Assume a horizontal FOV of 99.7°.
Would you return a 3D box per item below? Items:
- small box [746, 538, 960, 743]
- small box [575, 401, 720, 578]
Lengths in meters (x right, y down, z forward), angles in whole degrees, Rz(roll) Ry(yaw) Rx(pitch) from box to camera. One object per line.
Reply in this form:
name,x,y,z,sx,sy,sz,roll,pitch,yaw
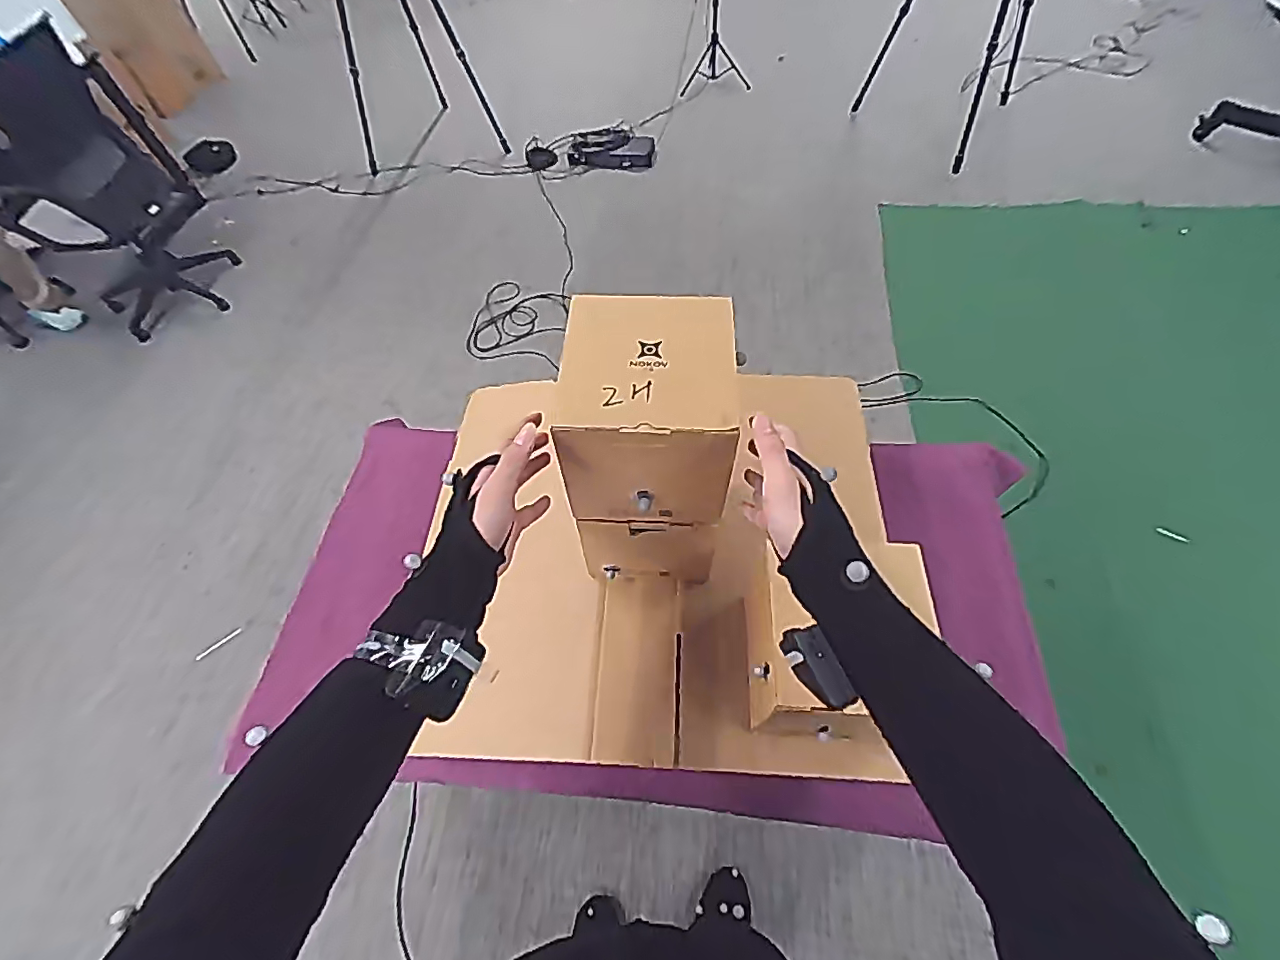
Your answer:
small box,0.214,0.182,0.602,0.168,0.176,0.179,2,59,3
small box,0.015,0.018,0.709,0.168,0.176,0.179,2,57,2
